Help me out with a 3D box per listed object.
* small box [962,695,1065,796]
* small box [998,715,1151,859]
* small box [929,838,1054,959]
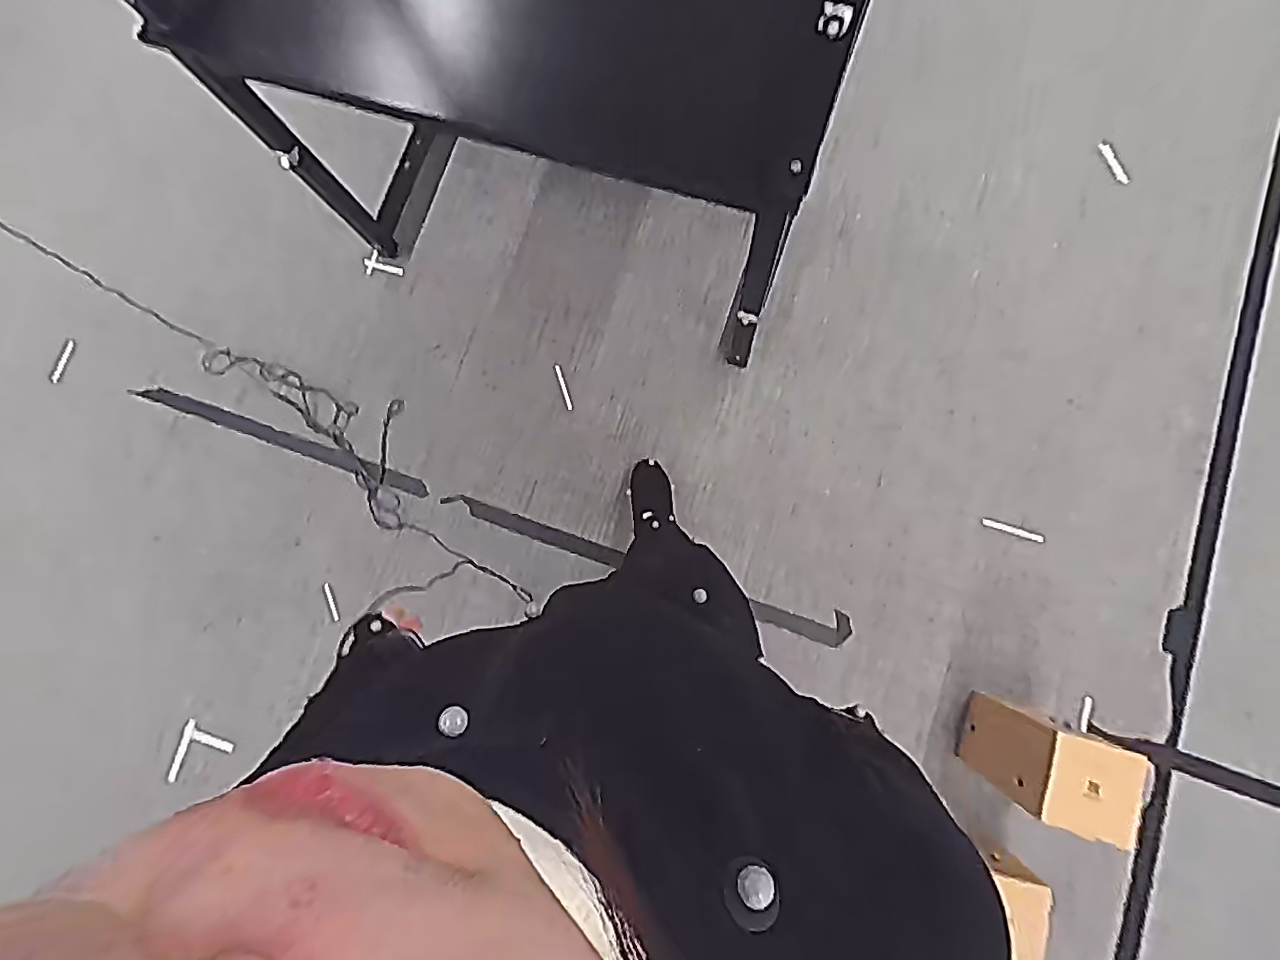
[{"bbox_3d":[0.882,0.631,1.255,0.168,0.176,0.179,18,85,7],"label":"small box"},{"bbox_3d":[0.864,0.608,1.093,0.168,0.176,0.179,16,83,7],"label":"small box"},{"bbox_3d":[0.783,0.950,1.223,0.179,0.176,0.168,11,84,6],"label":"small box"}]
